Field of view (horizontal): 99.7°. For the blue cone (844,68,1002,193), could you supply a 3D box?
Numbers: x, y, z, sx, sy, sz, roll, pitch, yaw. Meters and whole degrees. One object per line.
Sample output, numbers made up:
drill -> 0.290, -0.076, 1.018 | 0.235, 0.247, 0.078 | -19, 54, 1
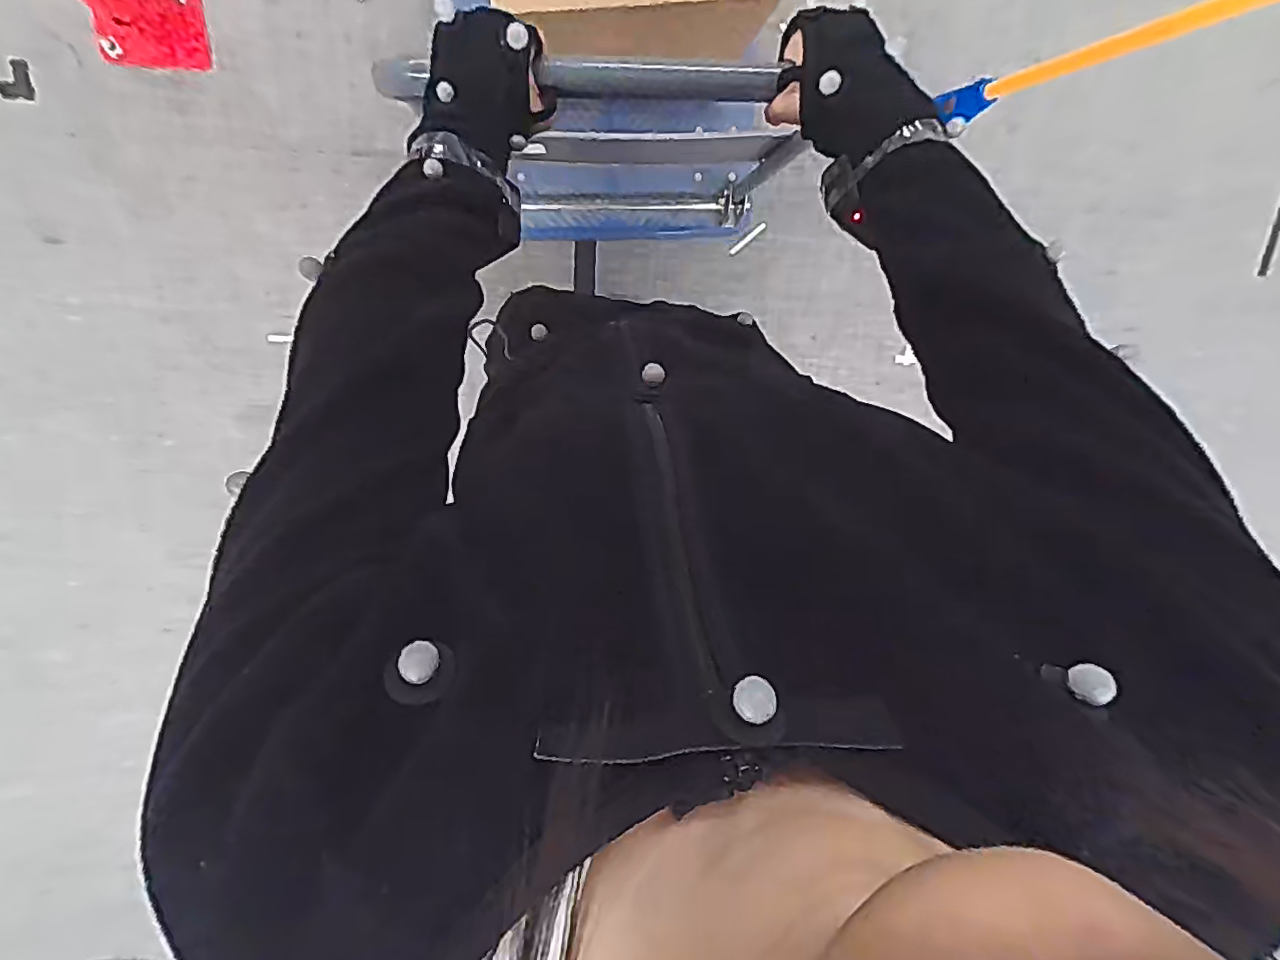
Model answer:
blue cone -> 0.590, -0.736, 1.115 | 0.193, 0.380, 0.192 | -3, 107, -7
